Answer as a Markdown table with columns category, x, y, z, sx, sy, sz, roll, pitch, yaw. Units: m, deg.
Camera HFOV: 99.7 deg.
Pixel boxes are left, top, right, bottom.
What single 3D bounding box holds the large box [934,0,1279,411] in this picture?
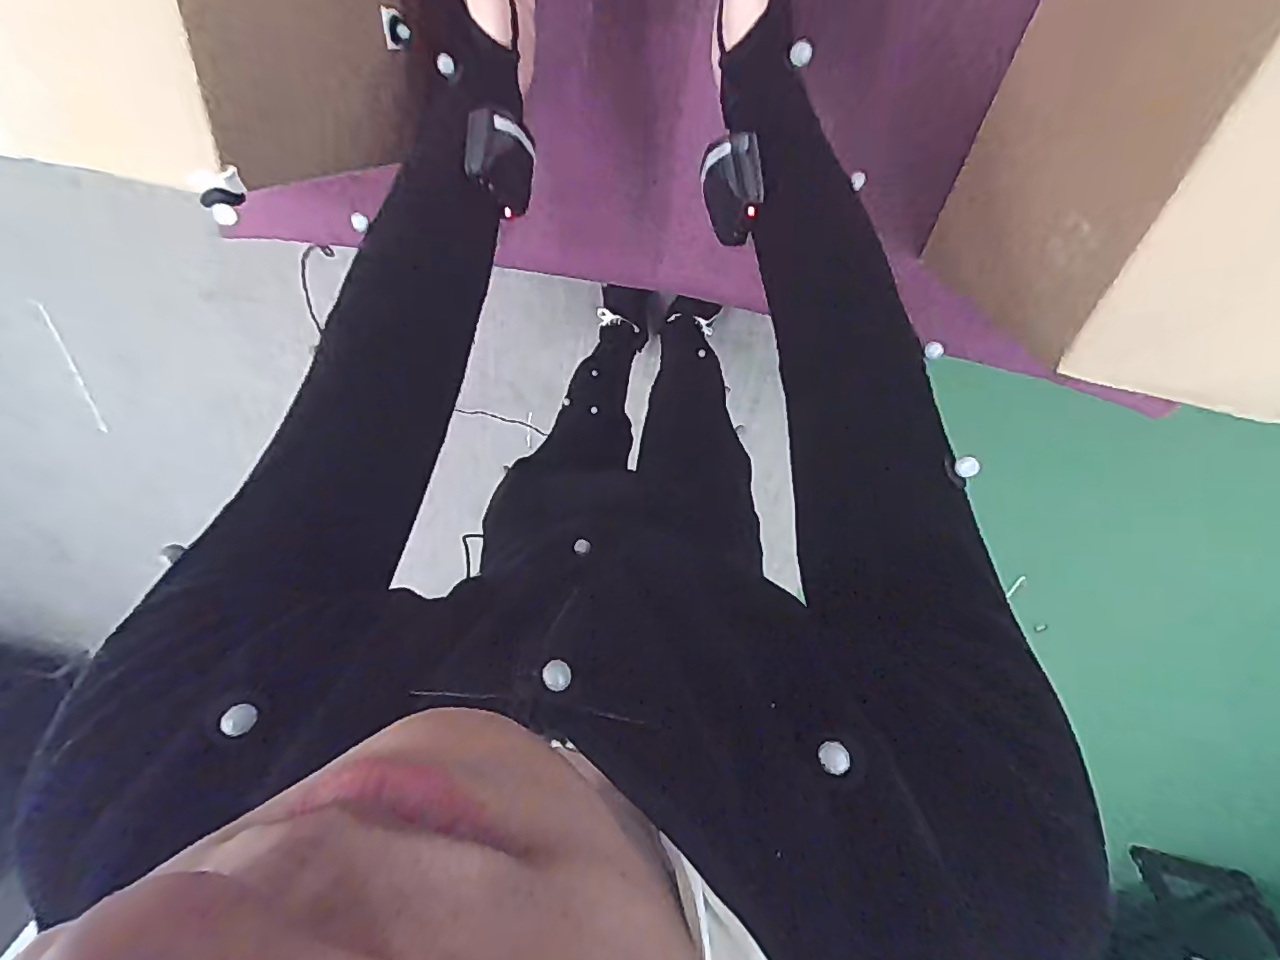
| category | x | y | z | sx | sy | sz | roll | pitch | yaw |
| --- | --- | --- | --- | --- | --- | --- | --- | --- | --- |
| large box | 0.481 | -0.289 | 0.364 | 0.320 | 0.320 | 0.408 | 12 | 126 | 1 |
